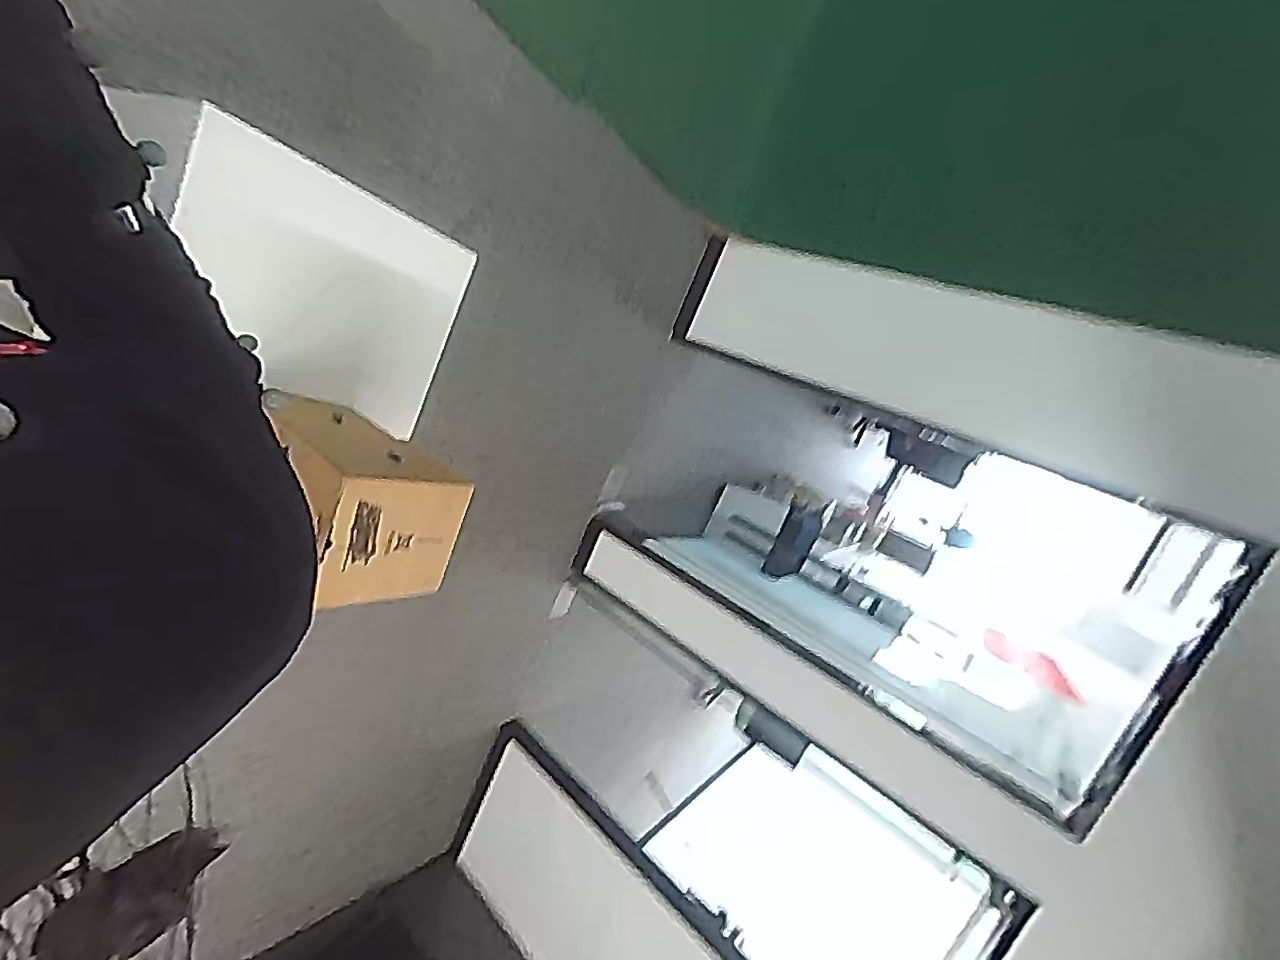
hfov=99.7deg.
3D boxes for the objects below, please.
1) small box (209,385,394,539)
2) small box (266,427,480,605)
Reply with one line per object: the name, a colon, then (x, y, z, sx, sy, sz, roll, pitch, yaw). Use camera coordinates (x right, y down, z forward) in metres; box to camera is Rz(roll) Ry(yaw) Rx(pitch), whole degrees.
small box: (-0.478, -0.024, 0.788, 0.179, 0.176, 0.168, 11, 105, -57)
small box: (-0.350, 0.040, 0.706, 0.179, 0.176, 0.168, 6, 110, -57)
